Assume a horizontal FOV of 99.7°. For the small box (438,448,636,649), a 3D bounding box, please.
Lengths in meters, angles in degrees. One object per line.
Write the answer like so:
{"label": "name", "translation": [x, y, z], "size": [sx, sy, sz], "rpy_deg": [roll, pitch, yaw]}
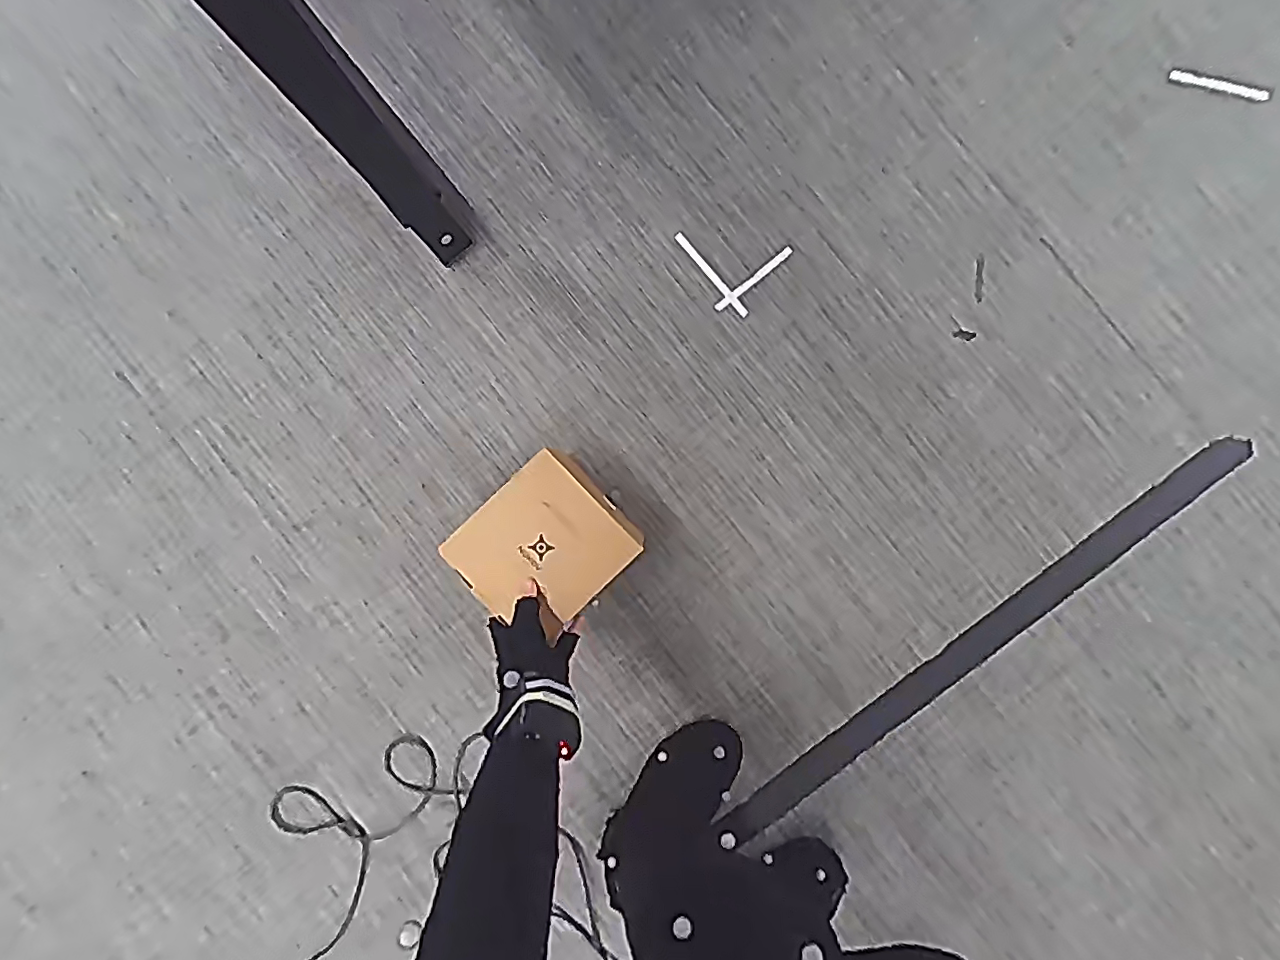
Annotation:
{"label": "small box", "translation": [-0.116, 0.080, 0.698], "size": [0.179, 0.176, 0.168], "rpy_deg": [-45, 89, 0]}
